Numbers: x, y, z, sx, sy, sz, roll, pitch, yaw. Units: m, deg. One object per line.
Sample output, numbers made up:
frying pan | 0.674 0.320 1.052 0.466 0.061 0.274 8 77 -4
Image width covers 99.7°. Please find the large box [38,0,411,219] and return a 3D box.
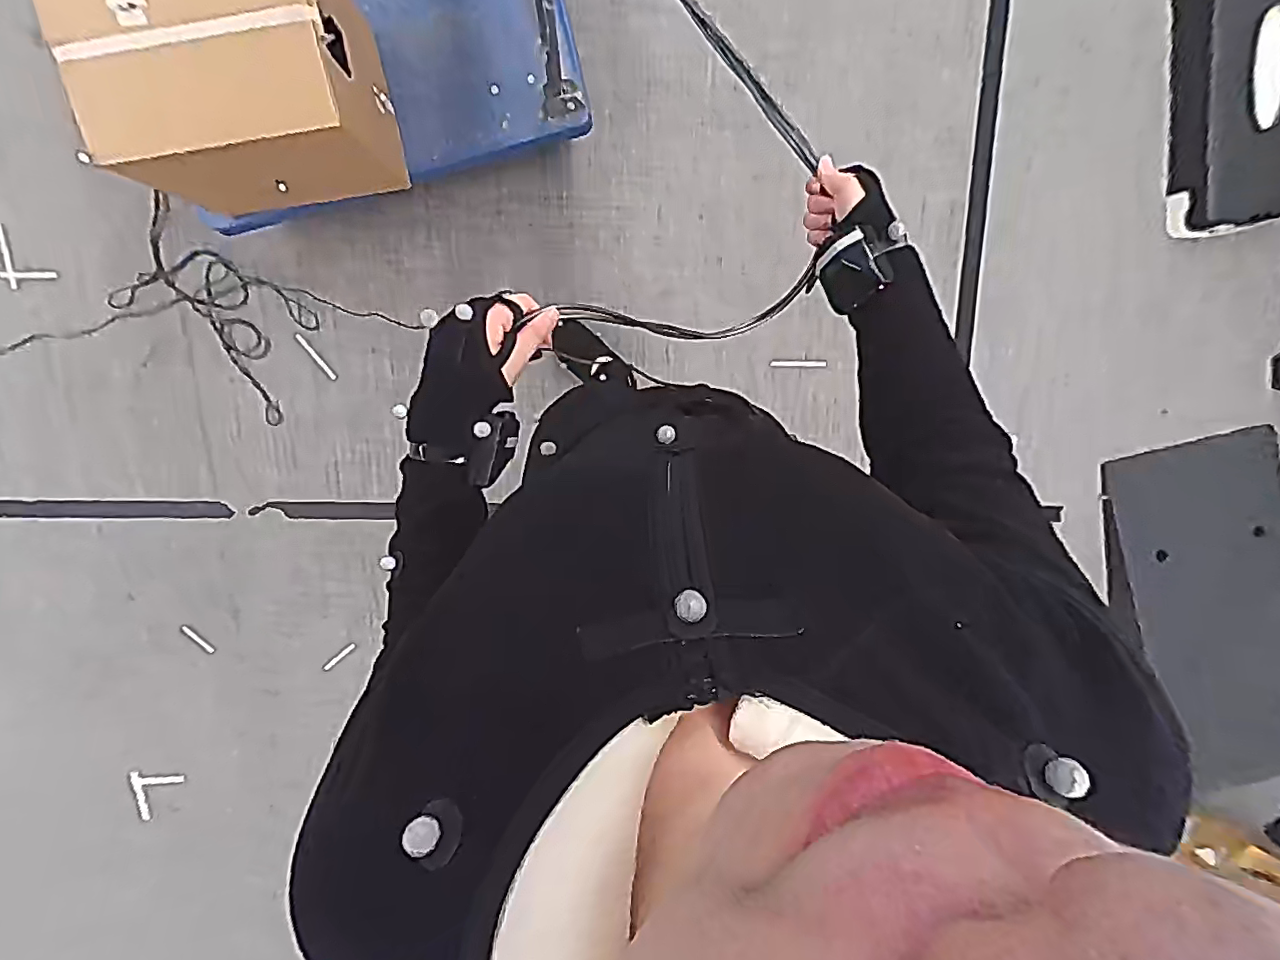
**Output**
large box | -0.702 -0.705 0.980 0.408 0.320 0.320 -10 101 0
